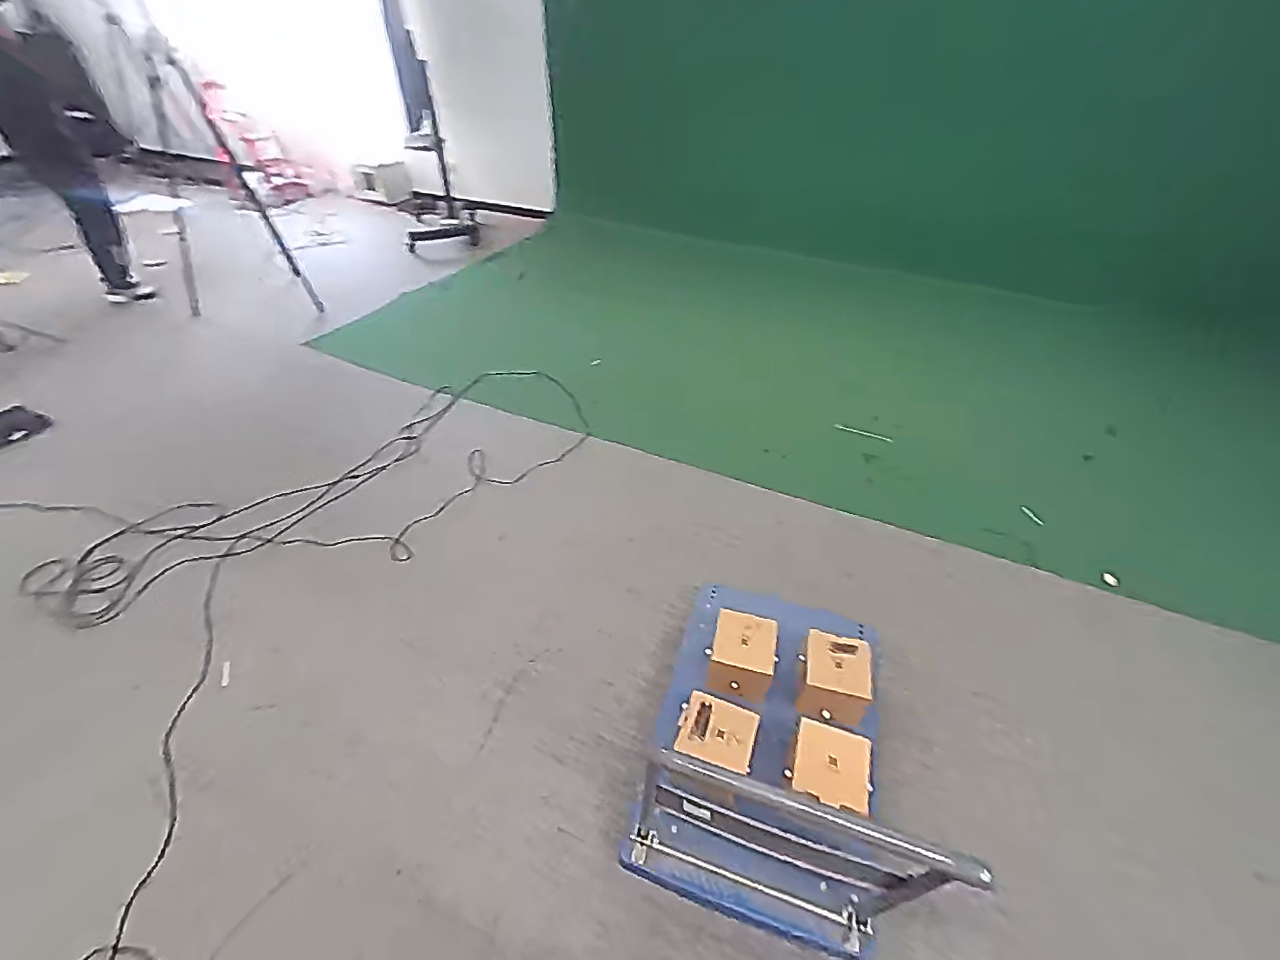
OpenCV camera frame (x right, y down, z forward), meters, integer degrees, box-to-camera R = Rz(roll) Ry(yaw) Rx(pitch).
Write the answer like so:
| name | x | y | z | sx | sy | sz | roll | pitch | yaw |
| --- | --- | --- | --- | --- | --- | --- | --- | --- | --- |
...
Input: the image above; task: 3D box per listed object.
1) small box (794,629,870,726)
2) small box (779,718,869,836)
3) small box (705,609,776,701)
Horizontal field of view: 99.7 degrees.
| name | x | y | z | sx | sy | sz | roll | pitch | yaw |
| --- | --- | --- | --- | --- | --- | --- | --- | --- | --- |
| small box | 0.530 | 0.551 | 1.507 | 0.168 | 0.176 | 0.179 | 10 | 44 | 11 |
| small box | 0.445 | 0.722 | 1.316 | 0.168 | 0.176 | 0.179 | 15 | 44 | 13 |
| small box | 0.286 | 0.505 | 1.551 | 0.168 | 0.176 | 0.179 | 12 | 43 | 10 |
